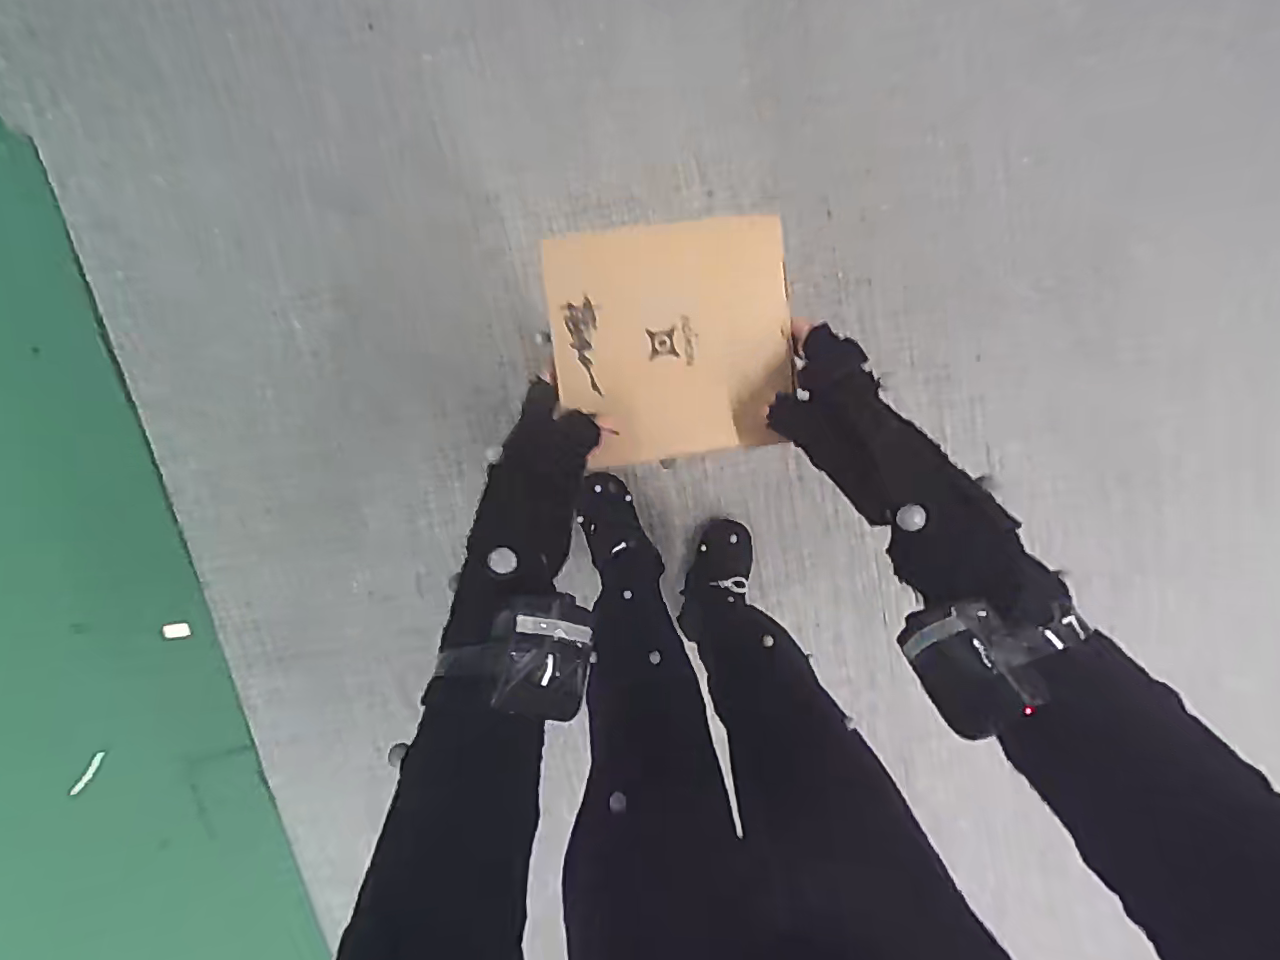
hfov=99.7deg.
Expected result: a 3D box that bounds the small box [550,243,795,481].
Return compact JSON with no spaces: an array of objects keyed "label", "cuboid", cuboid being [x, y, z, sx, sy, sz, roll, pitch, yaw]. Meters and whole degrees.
[{"label":"small box","cuboid":[0.021,-0.097,0.484,0.179,0.176,0.168,-7,96,-3]}]
